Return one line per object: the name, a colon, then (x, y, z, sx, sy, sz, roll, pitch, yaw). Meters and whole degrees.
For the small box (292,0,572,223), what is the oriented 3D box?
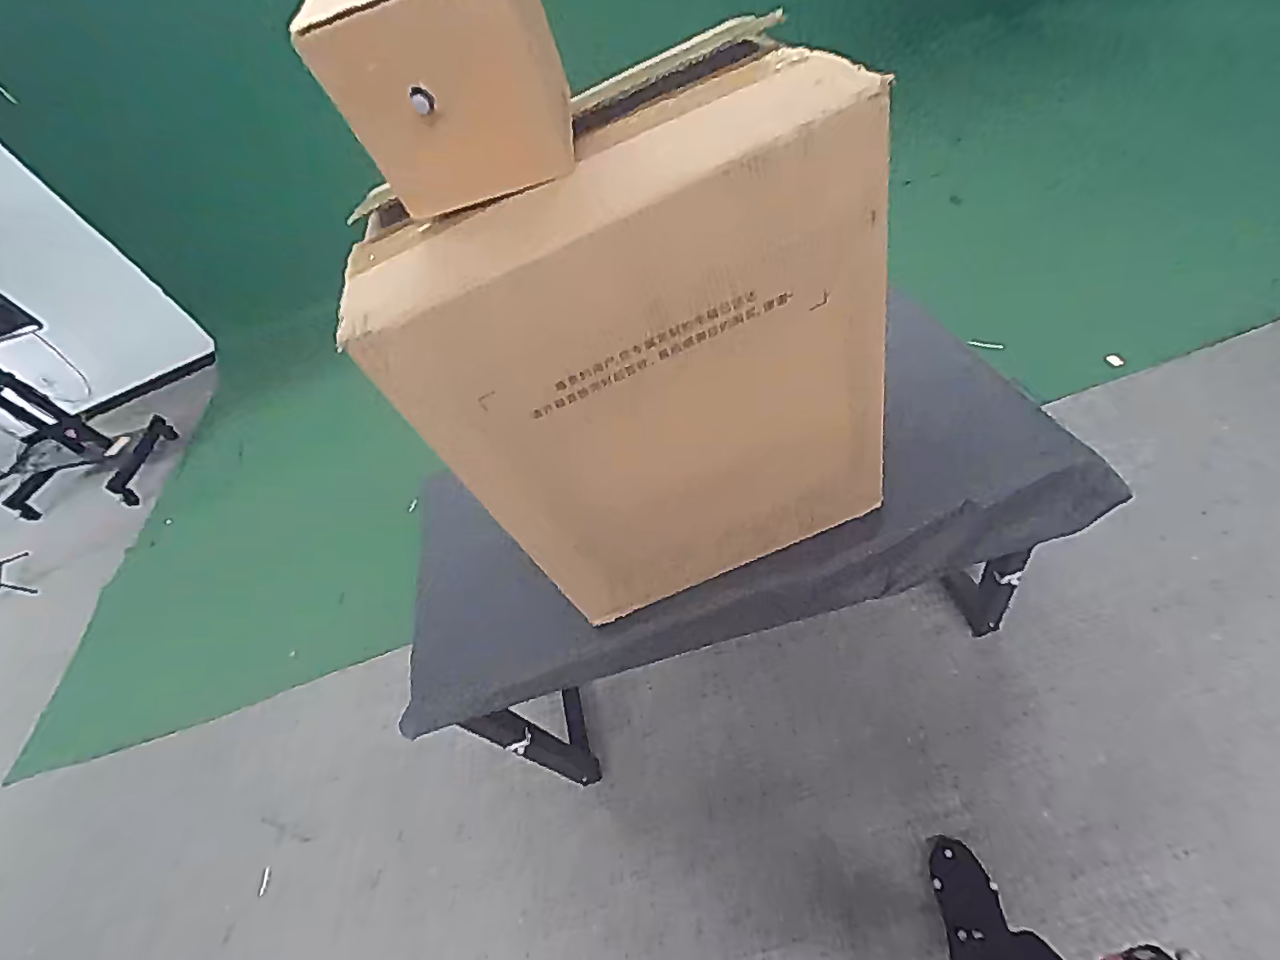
small box: (-0.177, -0.381, 0.517, 0.179, 0.176, 0.168, -12, 60, 11)
